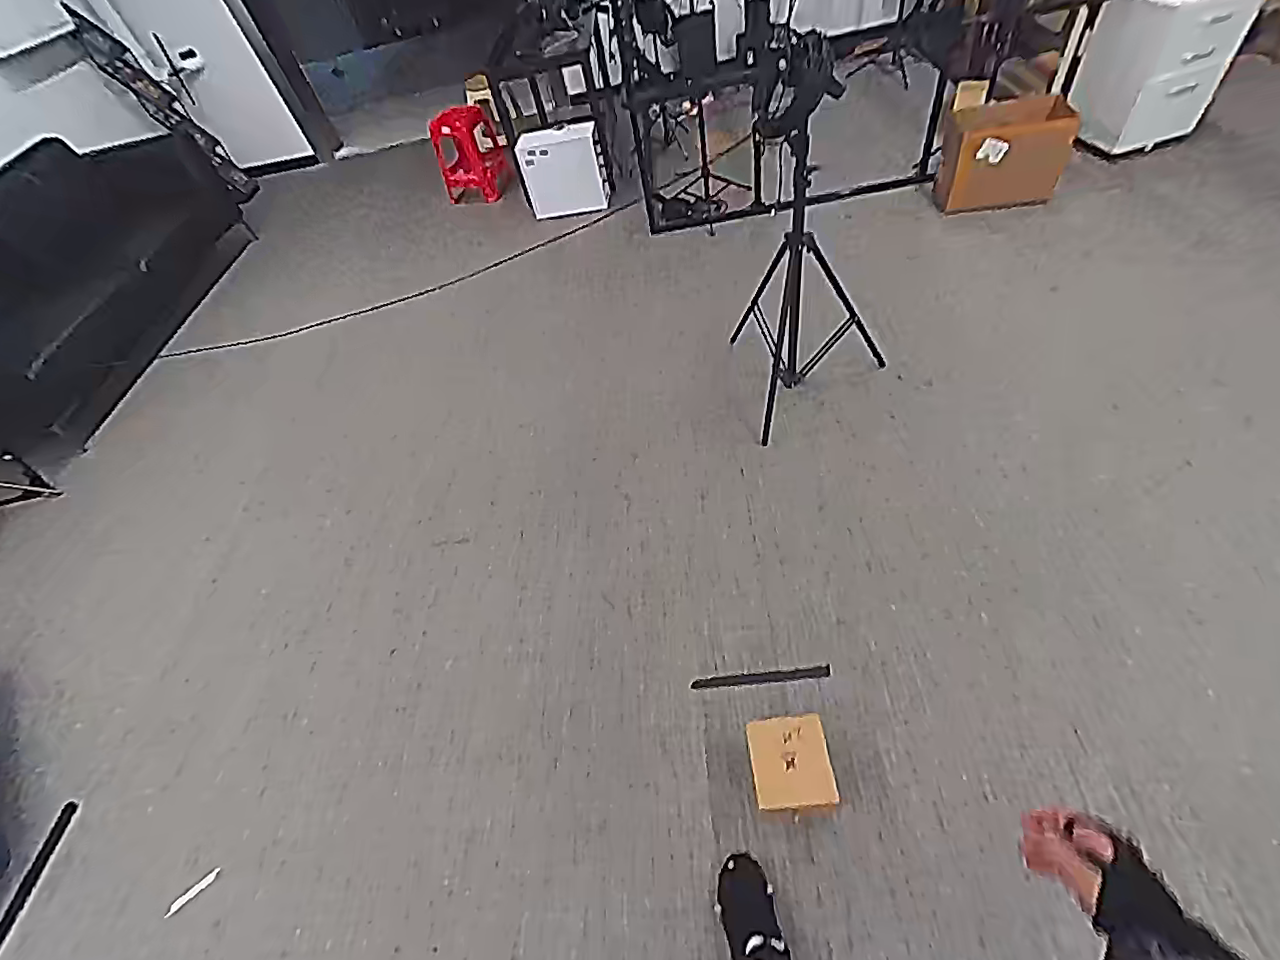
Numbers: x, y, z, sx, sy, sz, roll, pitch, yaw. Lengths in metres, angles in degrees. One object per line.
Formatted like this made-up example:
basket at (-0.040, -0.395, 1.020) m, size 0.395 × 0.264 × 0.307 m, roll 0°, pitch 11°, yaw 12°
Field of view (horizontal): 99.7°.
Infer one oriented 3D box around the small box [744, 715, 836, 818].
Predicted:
small box at (0.332, 0.651, 1.218) m, size 0.168 × 0.176 × 0.179 m, roll -8°, pitch 50°, yaw 6°
